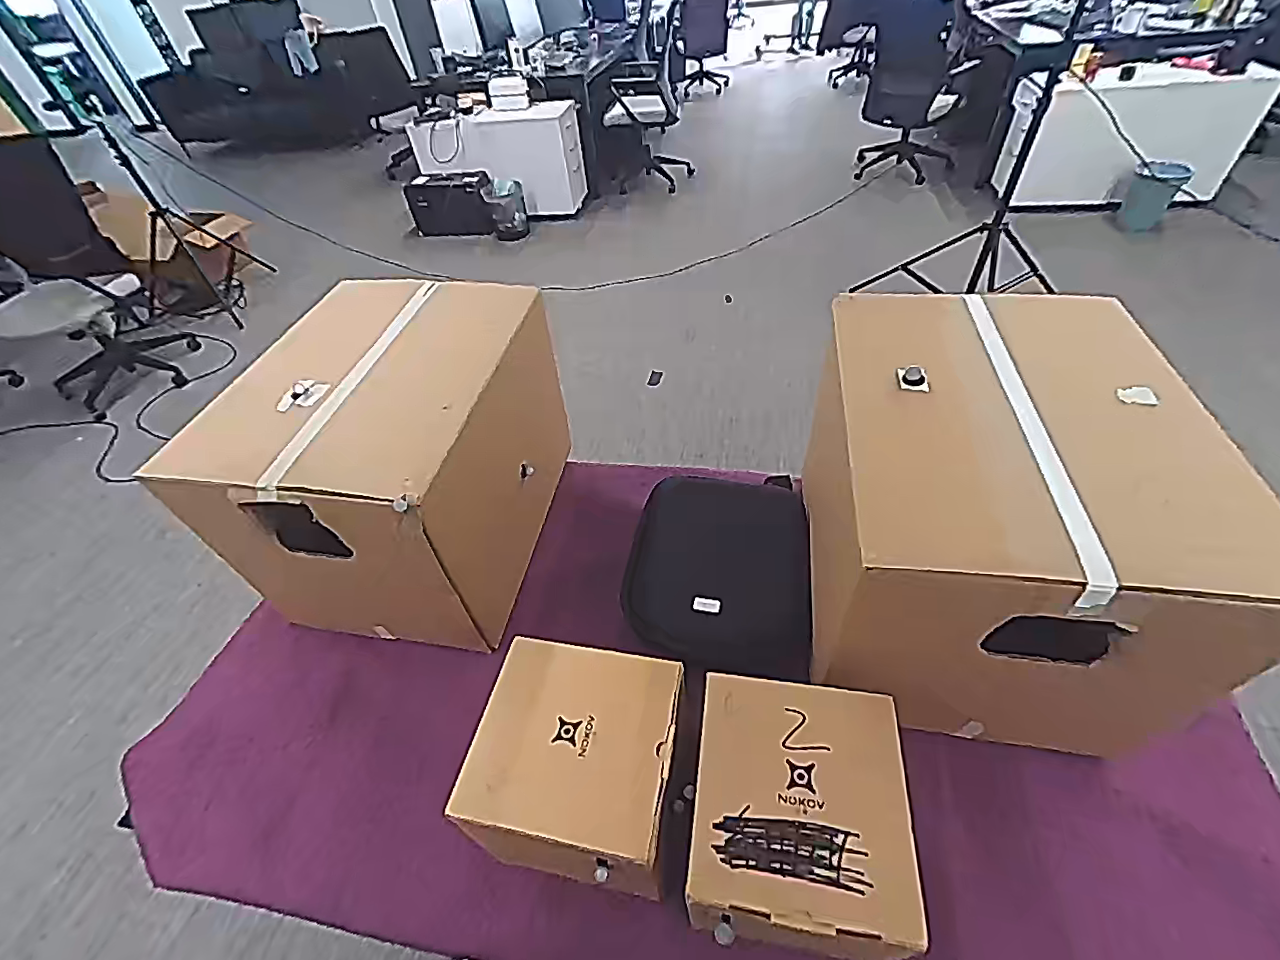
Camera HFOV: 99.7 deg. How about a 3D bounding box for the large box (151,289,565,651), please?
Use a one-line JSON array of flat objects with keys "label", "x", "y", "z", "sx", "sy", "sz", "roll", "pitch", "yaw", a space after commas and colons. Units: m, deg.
[{"label": "large box", "x": -0.314, "y": -0.024, "z": 0.767, "sx": 0.320, "sy": 0.320, "sz": 0.408, "roll": 4, "pitch": 49, "yaw": 9}]
